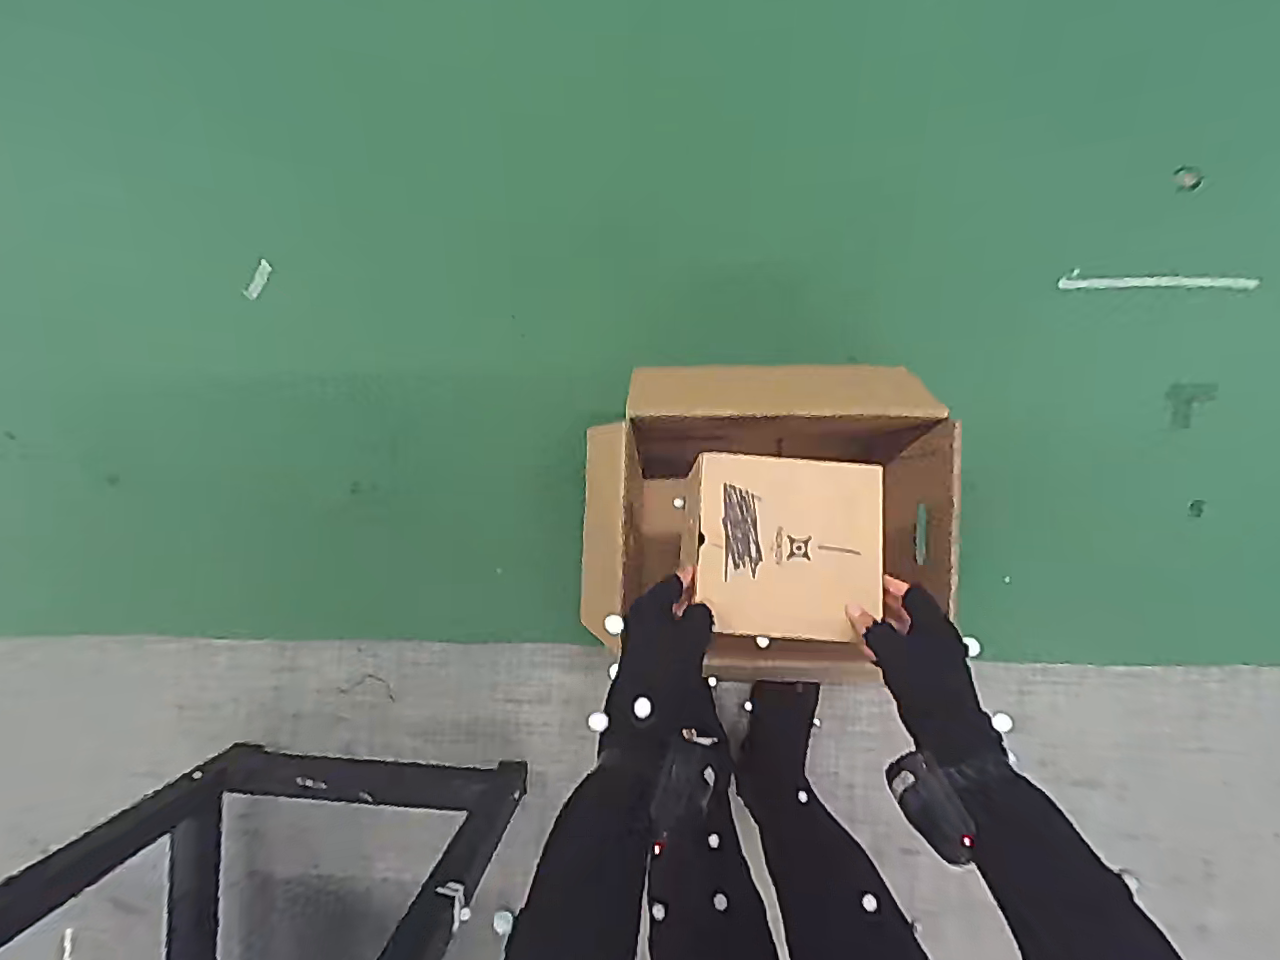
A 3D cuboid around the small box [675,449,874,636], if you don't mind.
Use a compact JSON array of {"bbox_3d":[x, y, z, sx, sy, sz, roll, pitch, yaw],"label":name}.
[{"bbox_3d":[0.132,0.069,0.585,0.179,0.176,0.168,4,81,0],"label":"small box"}]
